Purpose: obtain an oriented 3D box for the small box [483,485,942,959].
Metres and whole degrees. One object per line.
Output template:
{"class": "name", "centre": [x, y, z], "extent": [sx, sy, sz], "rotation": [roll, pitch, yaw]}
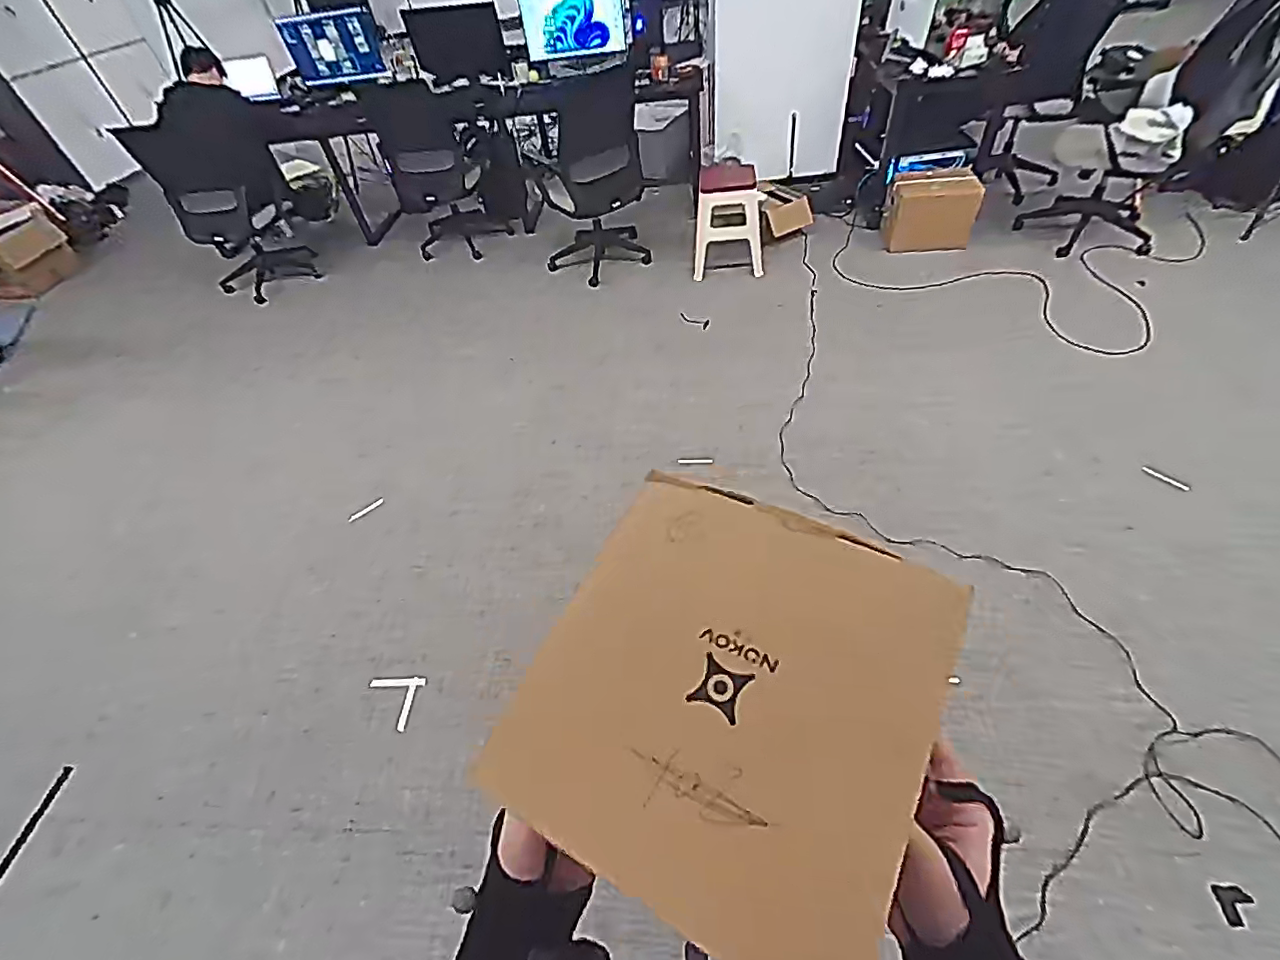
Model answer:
{"class": "small box", "centre": [0.049, 0.136, 0.316], "extent": [0.168, 0.176, 0.179], "rotation": [18, 64, 22]}
